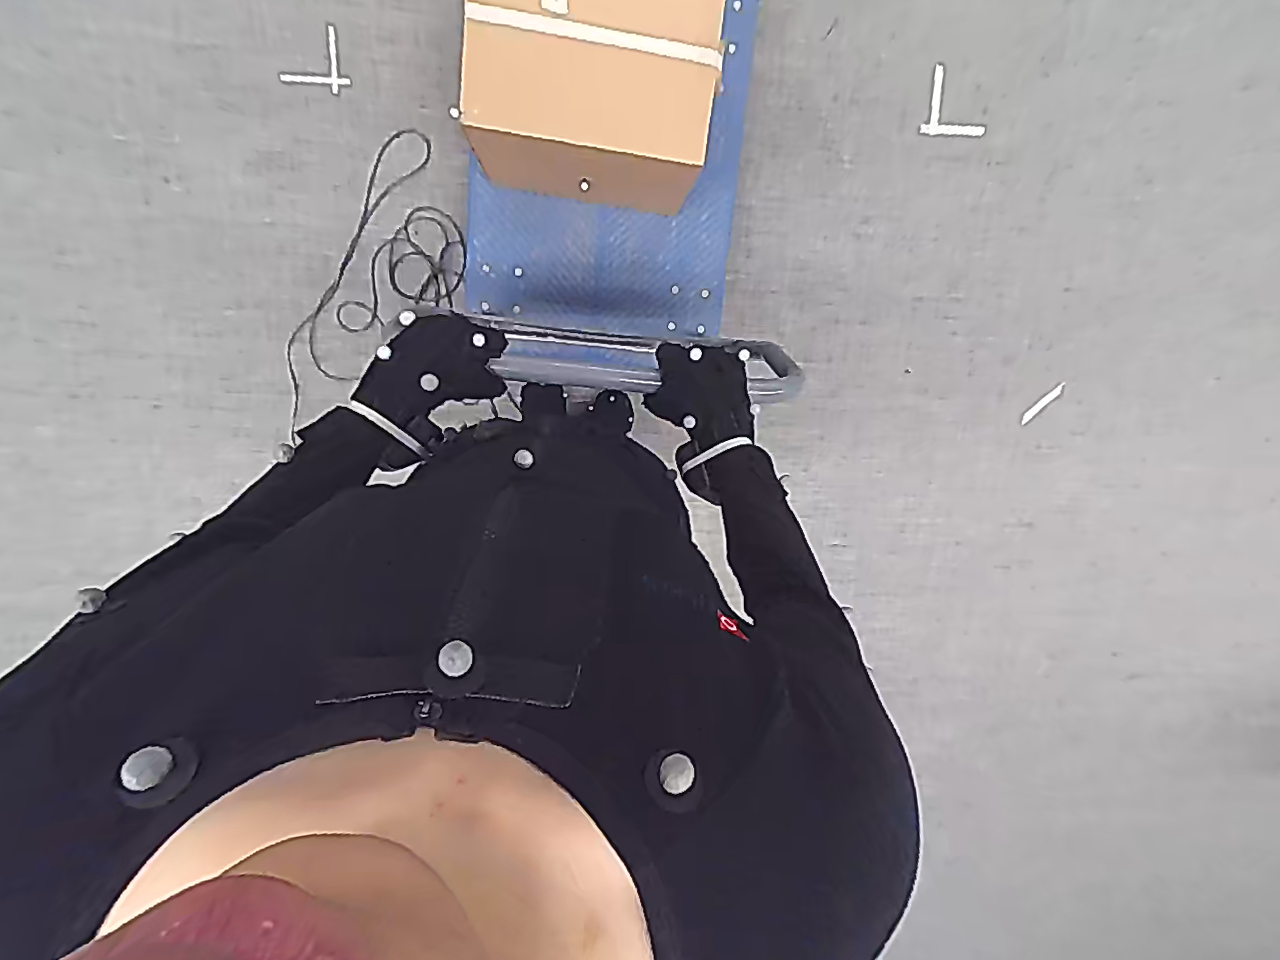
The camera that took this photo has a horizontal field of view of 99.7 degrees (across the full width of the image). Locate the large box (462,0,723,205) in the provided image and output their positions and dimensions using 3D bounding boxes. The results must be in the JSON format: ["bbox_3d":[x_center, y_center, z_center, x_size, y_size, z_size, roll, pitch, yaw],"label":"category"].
[{"bbox_3d":[-0.083,-0.737,1.002,0.408,0.320,0.320,6,101,-6],"label":"large box"}]
